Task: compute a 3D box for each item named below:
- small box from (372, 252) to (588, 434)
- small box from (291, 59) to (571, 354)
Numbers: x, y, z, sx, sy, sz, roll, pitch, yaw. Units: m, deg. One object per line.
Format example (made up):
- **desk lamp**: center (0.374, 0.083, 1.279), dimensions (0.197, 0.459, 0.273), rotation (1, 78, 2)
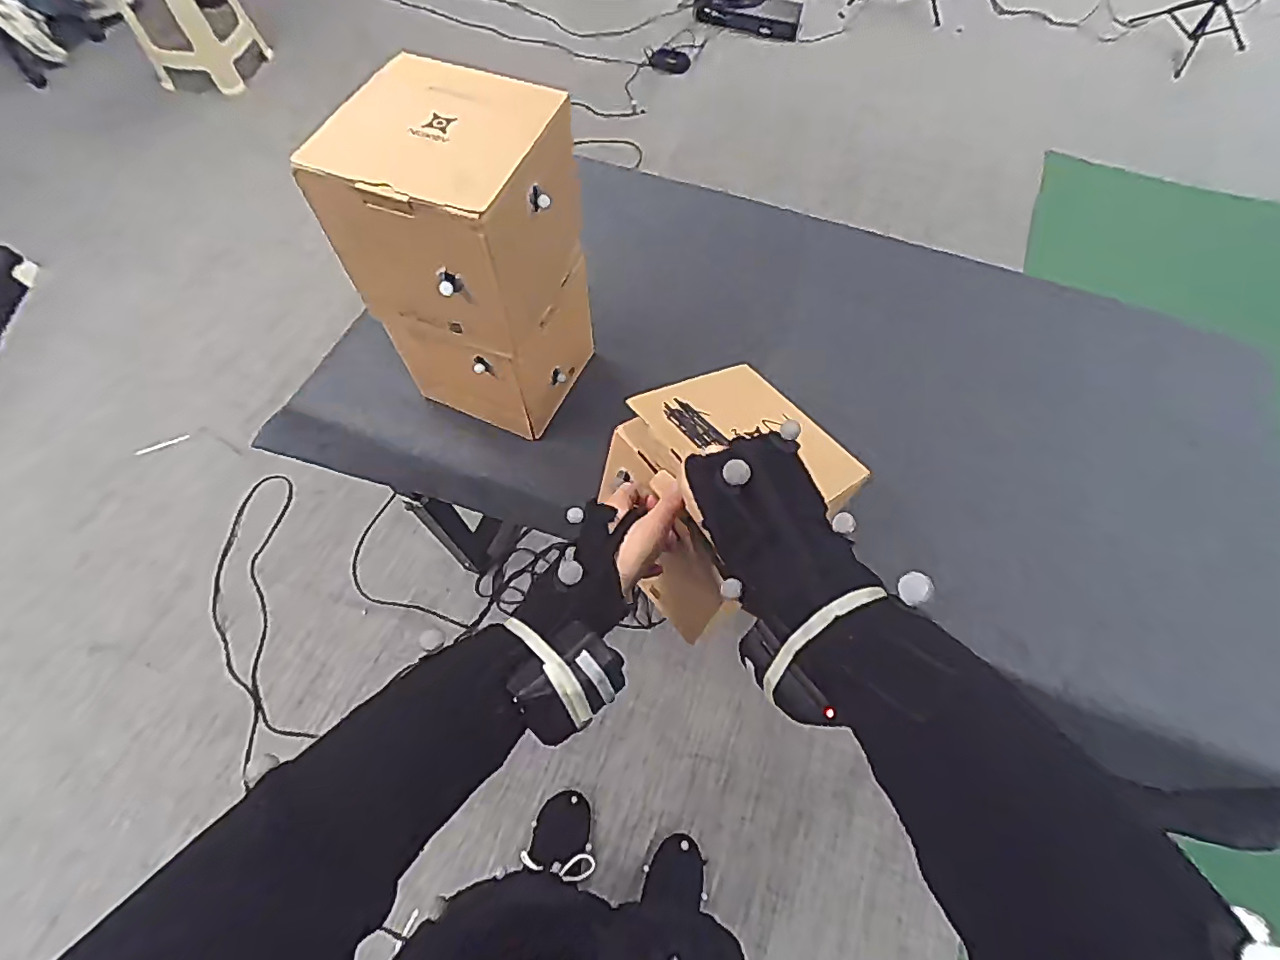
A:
- **small box**: center (-0.177, -0.182, 0.663), dimensions (0.179, 0.176, 0.168), rotation (22, 64, 10)
- **small box**: center (-0.171, -0.250, 0.515), dimensions (0.168, 0.176, 0.179), rotation (18, 62, 6)
